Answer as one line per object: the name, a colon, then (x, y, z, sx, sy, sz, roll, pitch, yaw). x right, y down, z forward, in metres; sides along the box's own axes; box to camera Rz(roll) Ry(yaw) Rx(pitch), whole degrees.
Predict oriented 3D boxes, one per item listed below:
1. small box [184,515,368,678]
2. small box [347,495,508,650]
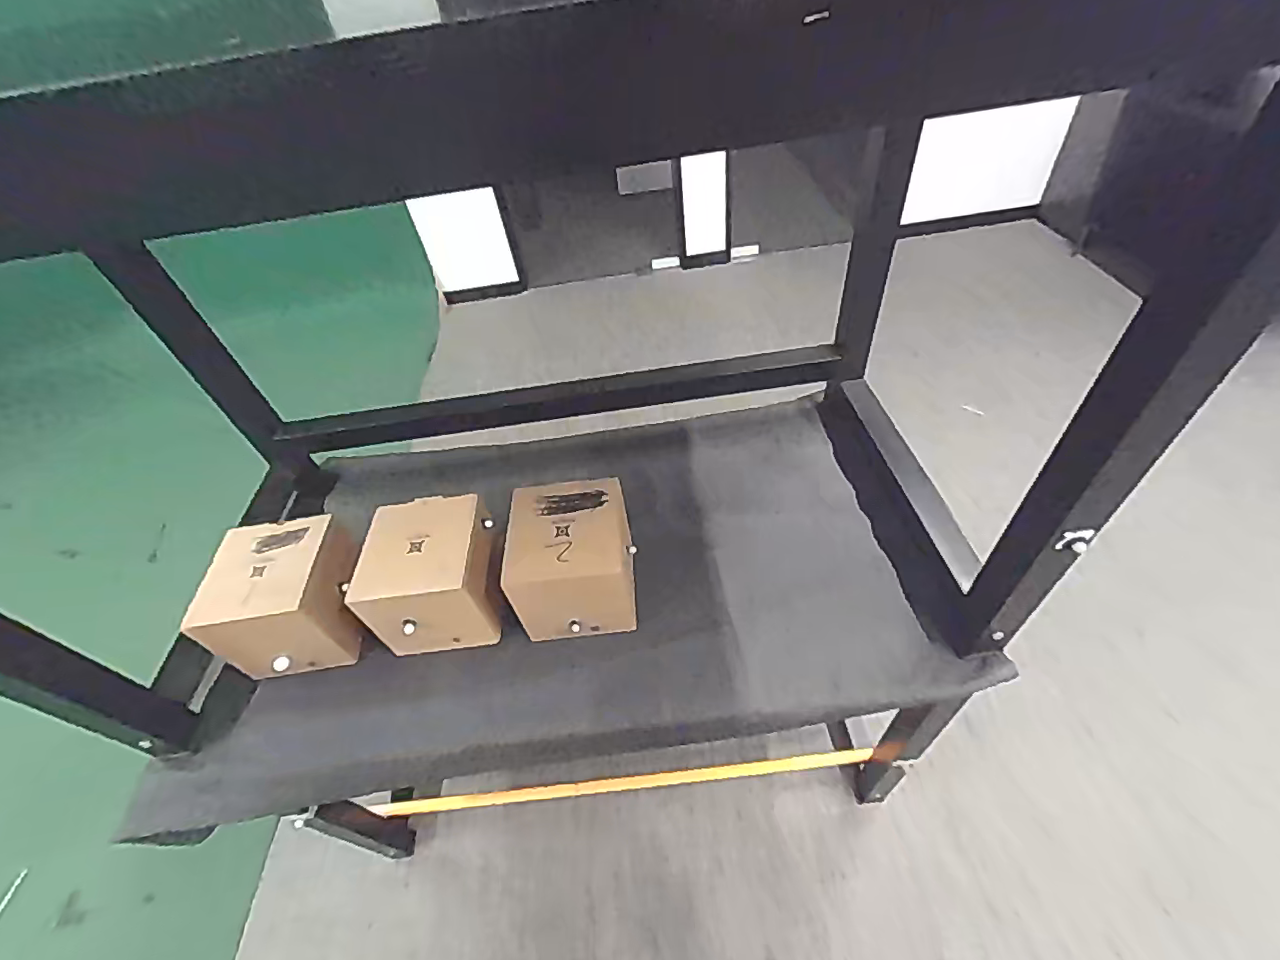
small box: (-0.537, 0.183, 0.844, 0.168, 0.176, 0.179, -10, 46, 0)
small box: (-0.313, 0.149, 0.843, 0.168, 0.176, 0.179, -7, 46, 2)
